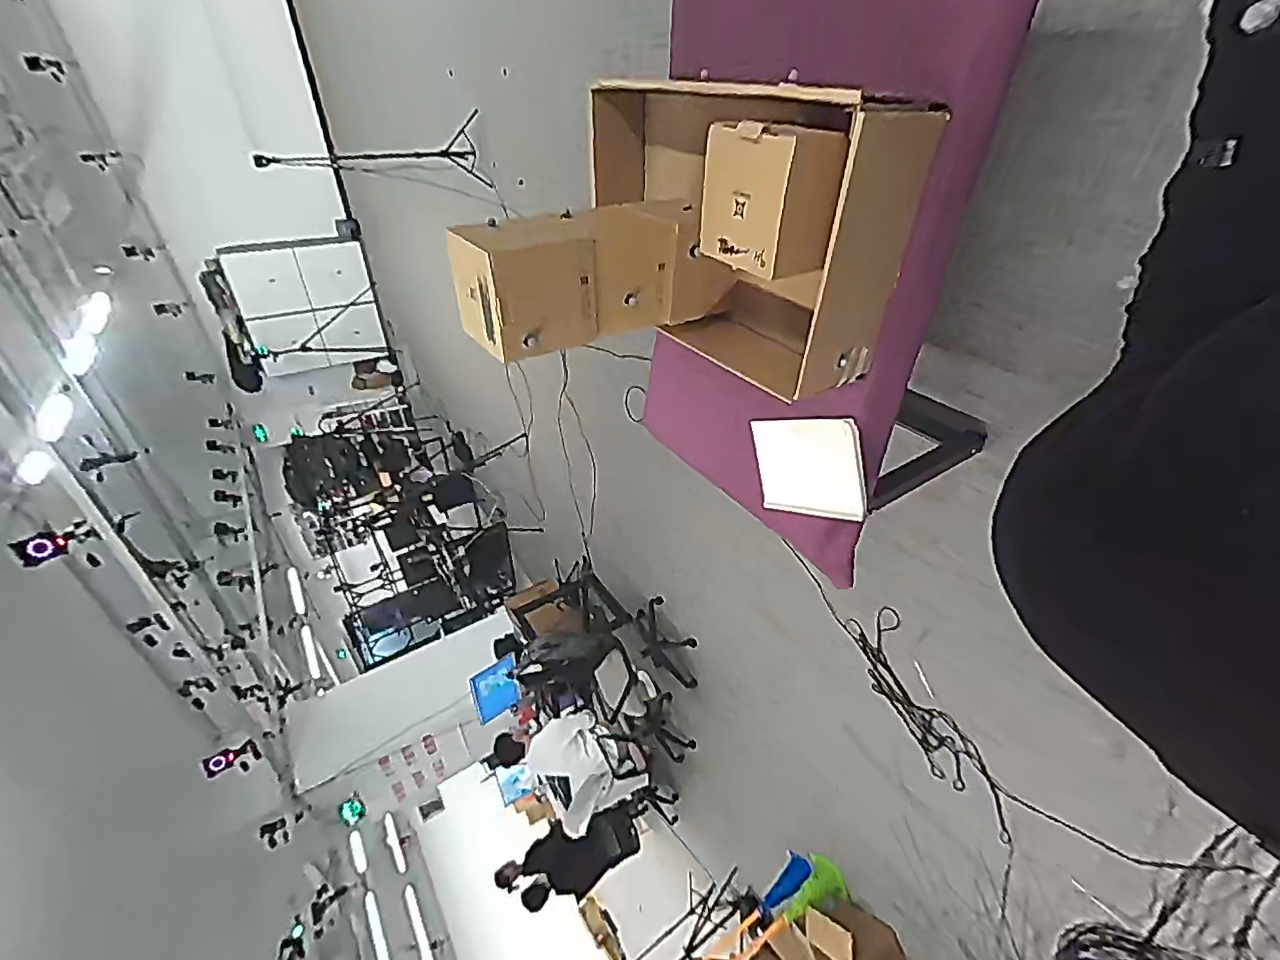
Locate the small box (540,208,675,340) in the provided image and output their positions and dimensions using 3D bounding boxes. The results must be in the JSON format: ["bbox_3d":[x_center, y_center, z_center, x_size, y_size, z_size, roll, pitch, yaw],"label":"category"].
[{"bbox_3d":[-0.055,-0.370,0.953,0.179,0.176,0.168,42,142,38],"label":"small box"}]
